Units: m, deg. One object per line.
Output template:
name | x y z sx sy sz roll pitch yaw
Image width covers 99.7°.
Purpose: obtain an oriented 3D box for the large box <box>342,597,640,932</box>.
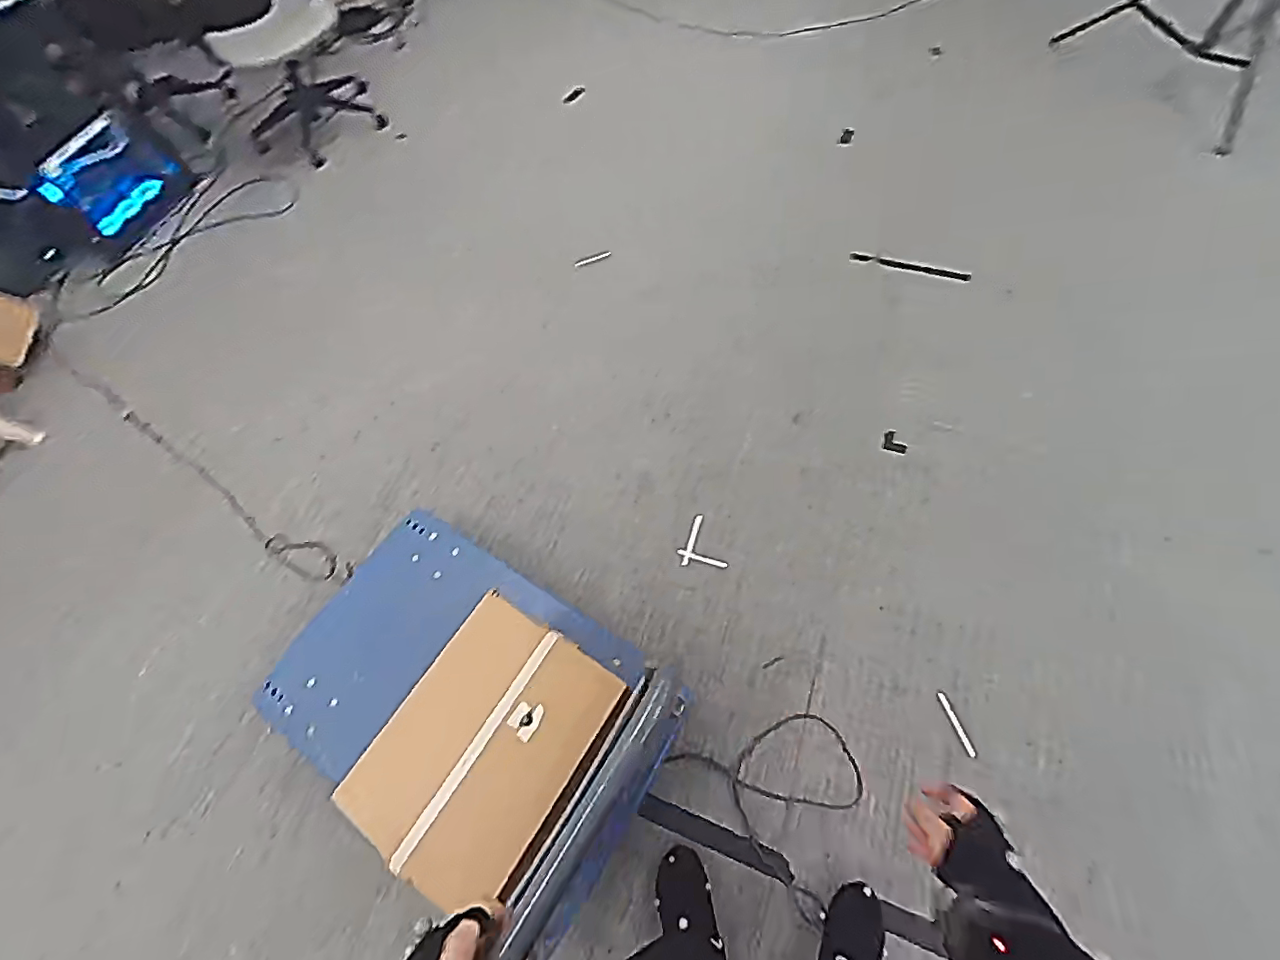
large box | -0.241 0.507 1.021 0.320 0.320 0.408 28 68 18
